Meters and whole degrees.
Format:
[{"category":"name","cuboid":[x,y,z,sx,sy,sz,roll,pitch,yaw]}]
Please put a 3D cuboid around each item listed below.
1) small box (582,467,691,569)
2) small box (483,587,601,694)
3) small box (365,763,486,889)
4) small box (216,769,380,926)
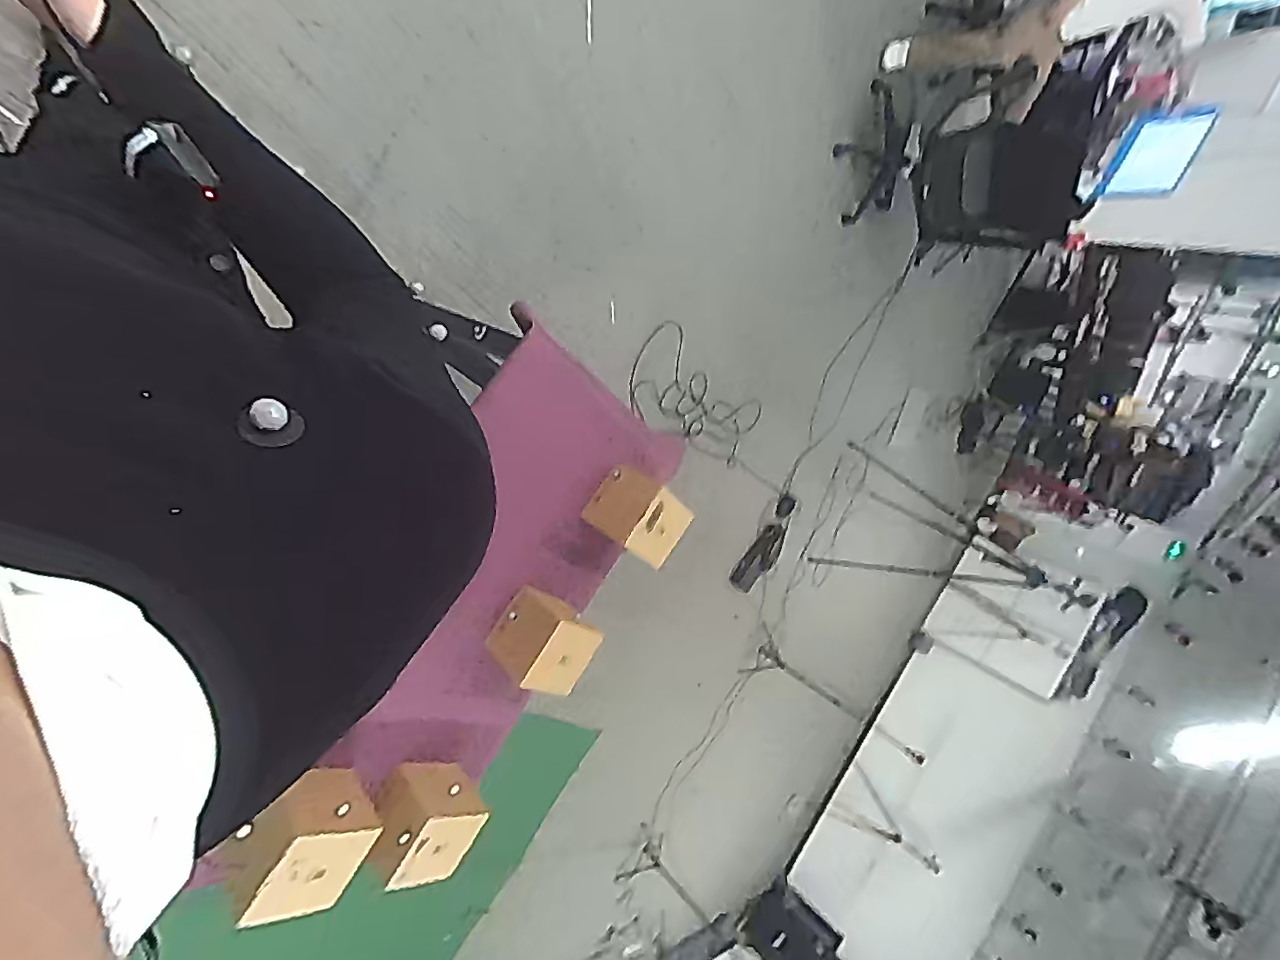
[{"category":"small box","cuboid":[-0.011,0.088,1.338,0.168,0.176,0.179,-55,139,-7]},{"category":"small box","cuboid":[-0.231,0.376,1.277,0.168,0.176,0.179,-57,140,-7]},{"category":"small box","cuboid":[-0.493,0.765,1.219,0.168,0.176,0.179,-58,141,-6]},{"category":"small box","cuboid":[-0.633,0.664,1.002,0.168,0.176,0.179,-57,141,-8]}]
